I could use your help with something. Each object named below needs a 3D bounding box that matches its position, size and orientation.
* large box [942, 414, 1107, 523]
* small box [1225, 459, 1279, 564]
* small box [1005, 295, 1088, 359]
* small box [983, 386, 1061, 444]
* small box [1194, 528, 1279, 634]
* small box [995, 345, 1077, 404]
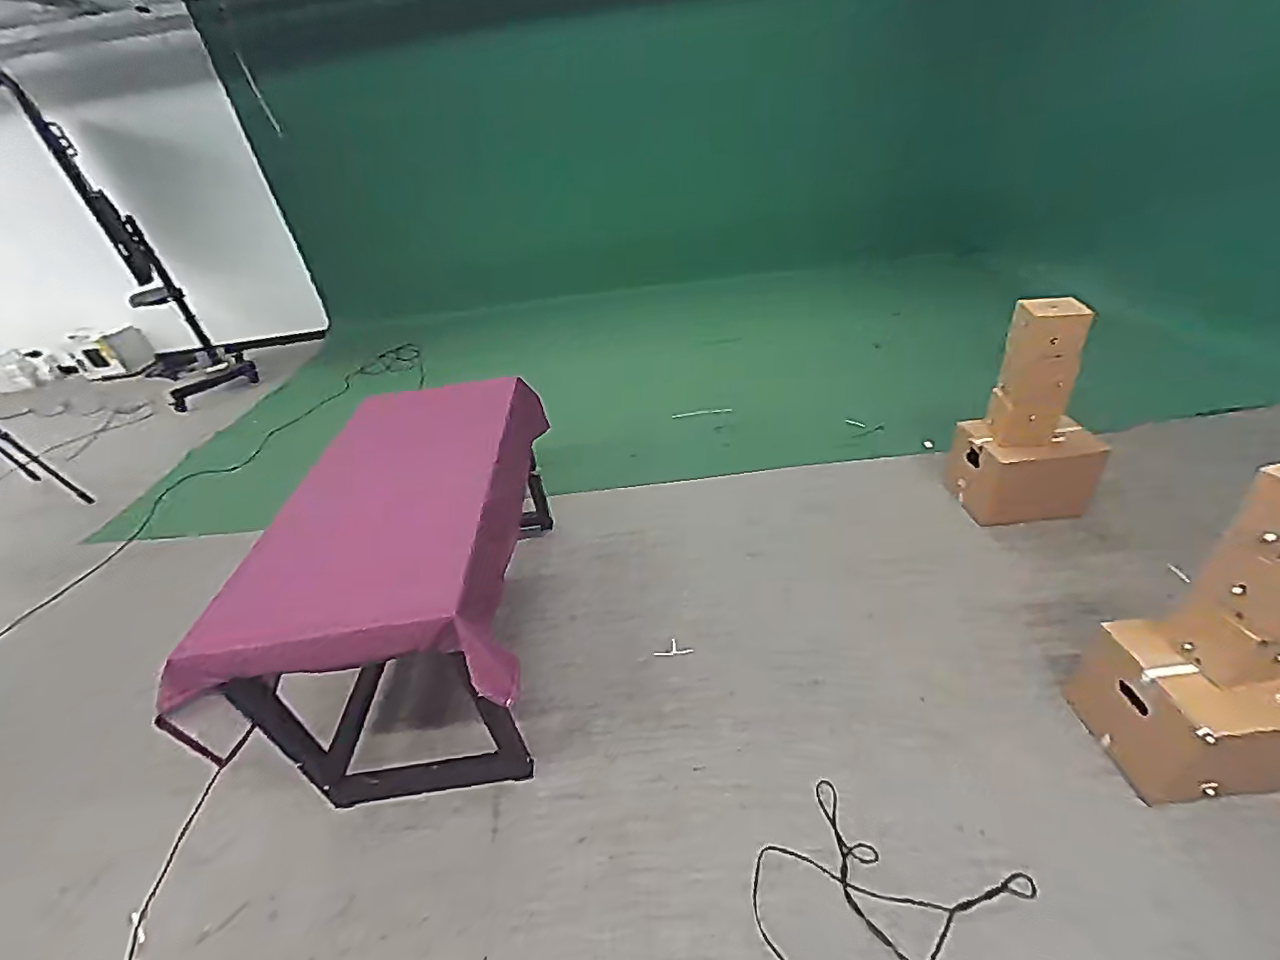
[{"bbox_3d":[1.516,-0.055,2.174,0.408,0.320,0.320,-7,35,1],"label":"large box"},{"bbox_3d":[1.322,0.064,1.050,0.179,0.176,0.168,-13,33,-5],"label":"small box"},{"bbox_3d":[1.398,-0.524,1.870,0.168,0.176,0.179,1,35,14],"label":"small box"},{"bbox_3d":[1.434,-0.249,2.043,0.179,0.176,0.168,-2,35,11],"label":"small box"},{"bbox_3d":[1.342,0.200,1.142,0.179,0.176,0.168,-13,34,-5],"label":"small box"},{"bbox_3d":[1.423,-0.385,1.955,0.179,0.176,0.168,0,35,14],"label":"small box"}]
